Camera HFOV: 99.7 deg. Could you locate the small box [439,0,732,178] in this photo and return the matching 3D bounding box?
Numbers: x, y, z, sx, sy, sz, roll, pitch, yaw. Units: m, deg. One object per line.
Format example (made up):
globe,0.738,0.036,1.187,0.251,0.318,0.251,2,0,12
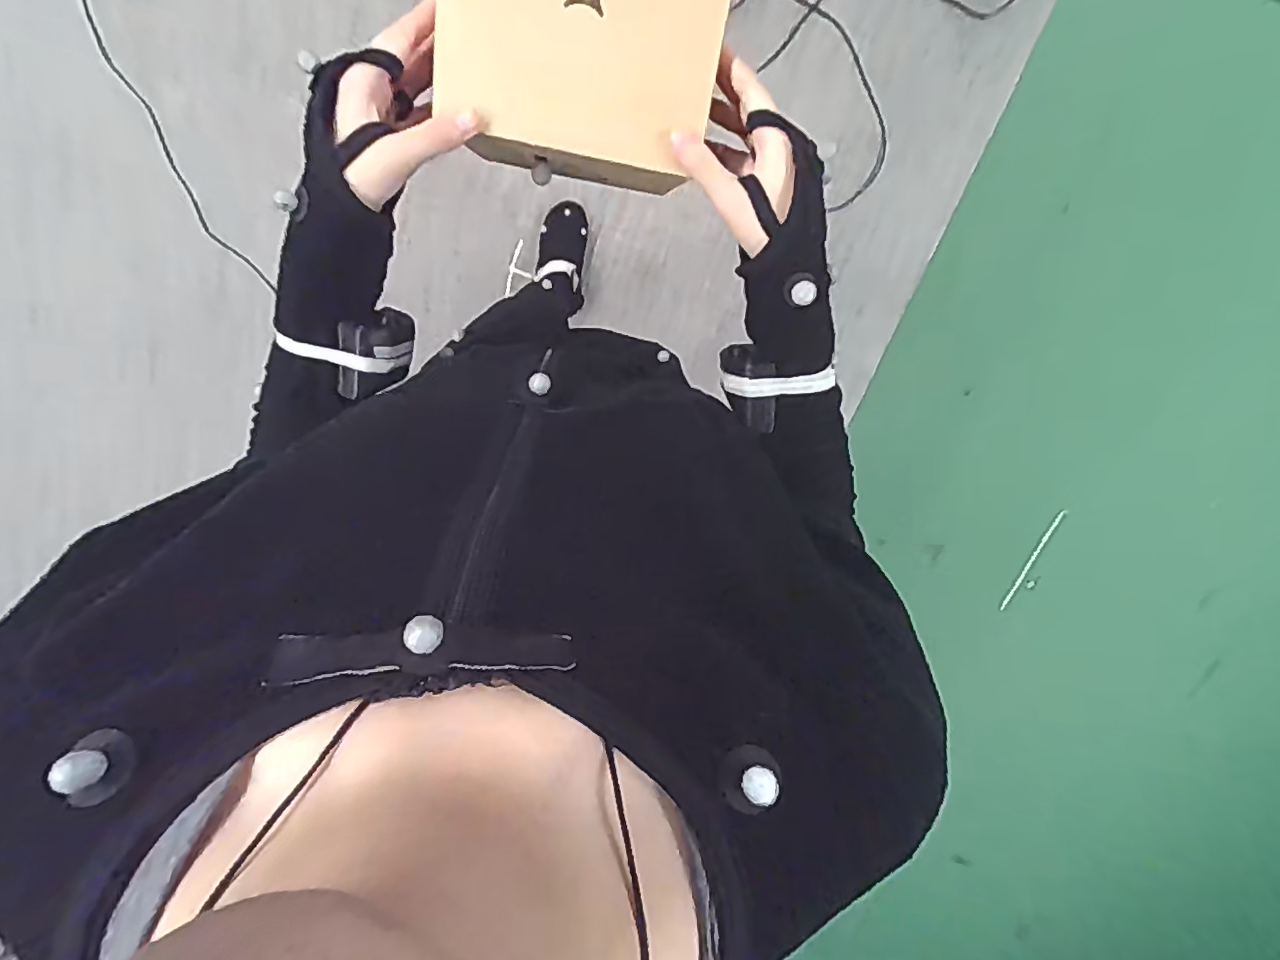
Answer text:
small box,-0.030,-0.325,0.373,0.168,0.176,0.179,7,112,-8
